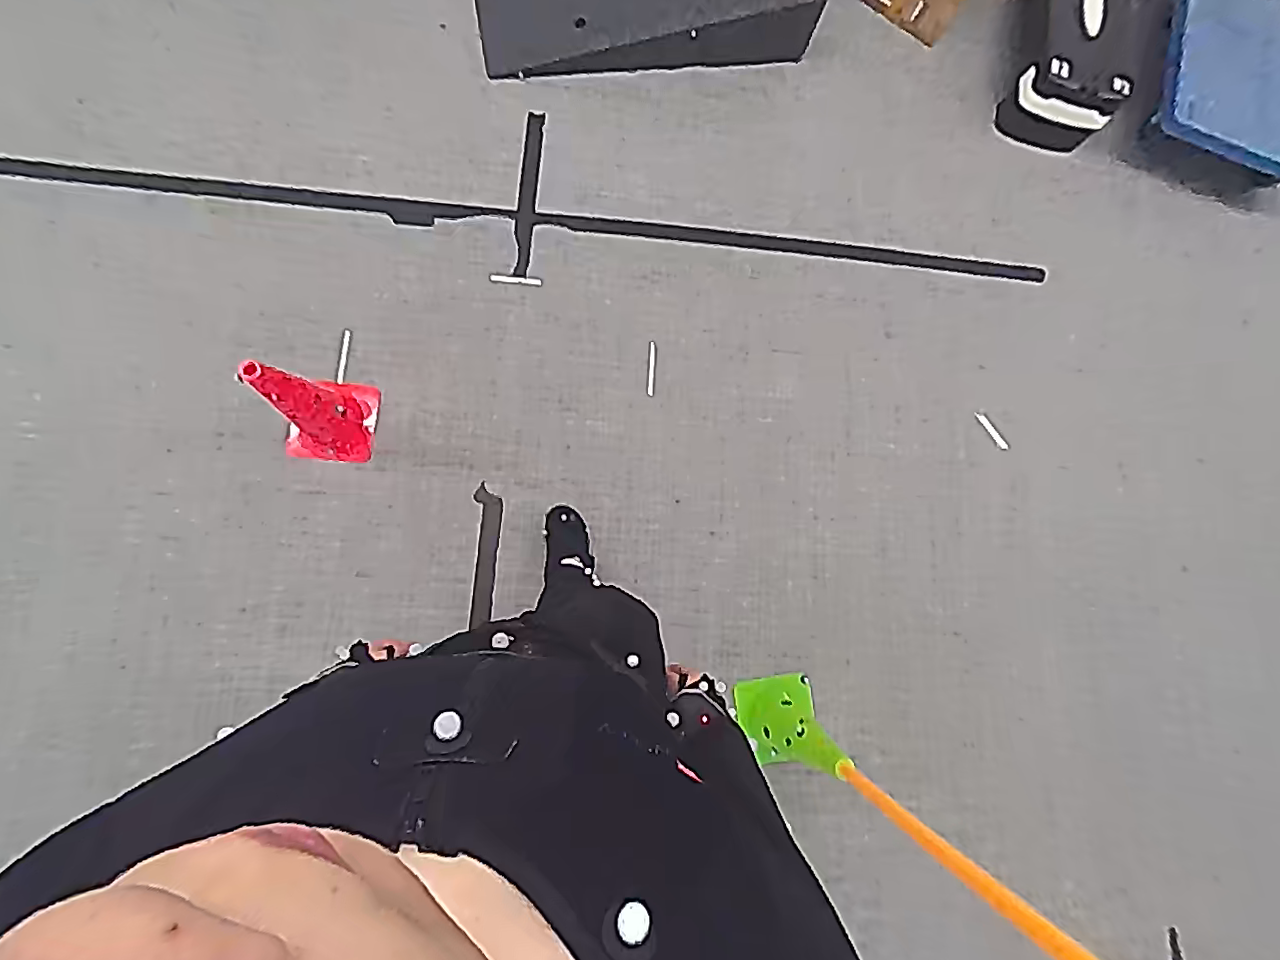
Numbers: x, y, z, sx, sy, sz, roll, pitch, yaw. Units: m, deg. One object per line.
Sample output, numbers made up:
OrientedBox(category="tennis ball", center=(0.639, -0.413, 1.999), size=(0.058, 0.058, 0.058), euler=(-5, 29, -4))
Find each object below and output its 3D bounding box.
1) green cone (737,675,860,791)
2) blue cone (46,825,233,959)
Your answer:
OrientedBox(category="green cone", center=(0.365, 0.576, 1.178), size=(0.200, 0.368, 0.202), euler=(-6, 83, -7))
OrientedBox(category="blue cone", center=(-0.966, 0.818, 0.997), size=(0.193, 0.380, 0.192), euler=(7, 80, -5))
